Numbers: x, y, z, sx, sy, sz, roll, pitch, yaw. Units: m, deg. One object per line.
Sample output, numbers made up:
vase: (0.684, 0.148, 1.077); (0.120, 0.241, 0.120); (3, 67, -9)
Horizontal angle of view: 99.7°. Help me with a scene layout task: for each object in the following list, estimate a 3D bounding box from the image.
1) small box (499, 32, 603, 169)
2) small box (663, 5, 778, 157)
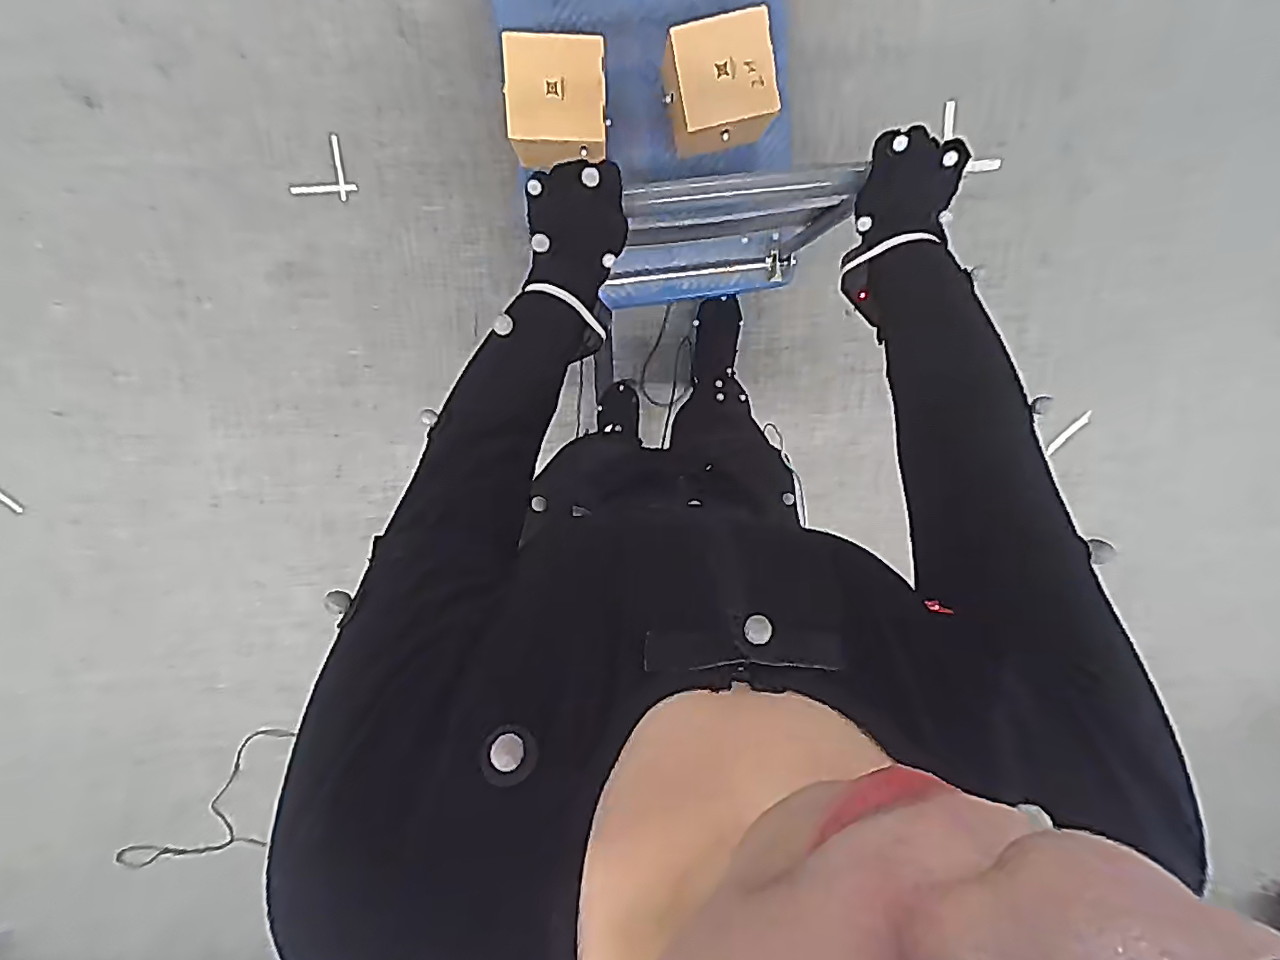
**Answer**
small box: (-0.159, -0.703, 1.021); (0.179, 0.176, 0.168); (-2, 104, -5)
small box: (0.143, -0.743, 1.027); (0.179, 0.176, 0.168); (-13, 105, 1)
